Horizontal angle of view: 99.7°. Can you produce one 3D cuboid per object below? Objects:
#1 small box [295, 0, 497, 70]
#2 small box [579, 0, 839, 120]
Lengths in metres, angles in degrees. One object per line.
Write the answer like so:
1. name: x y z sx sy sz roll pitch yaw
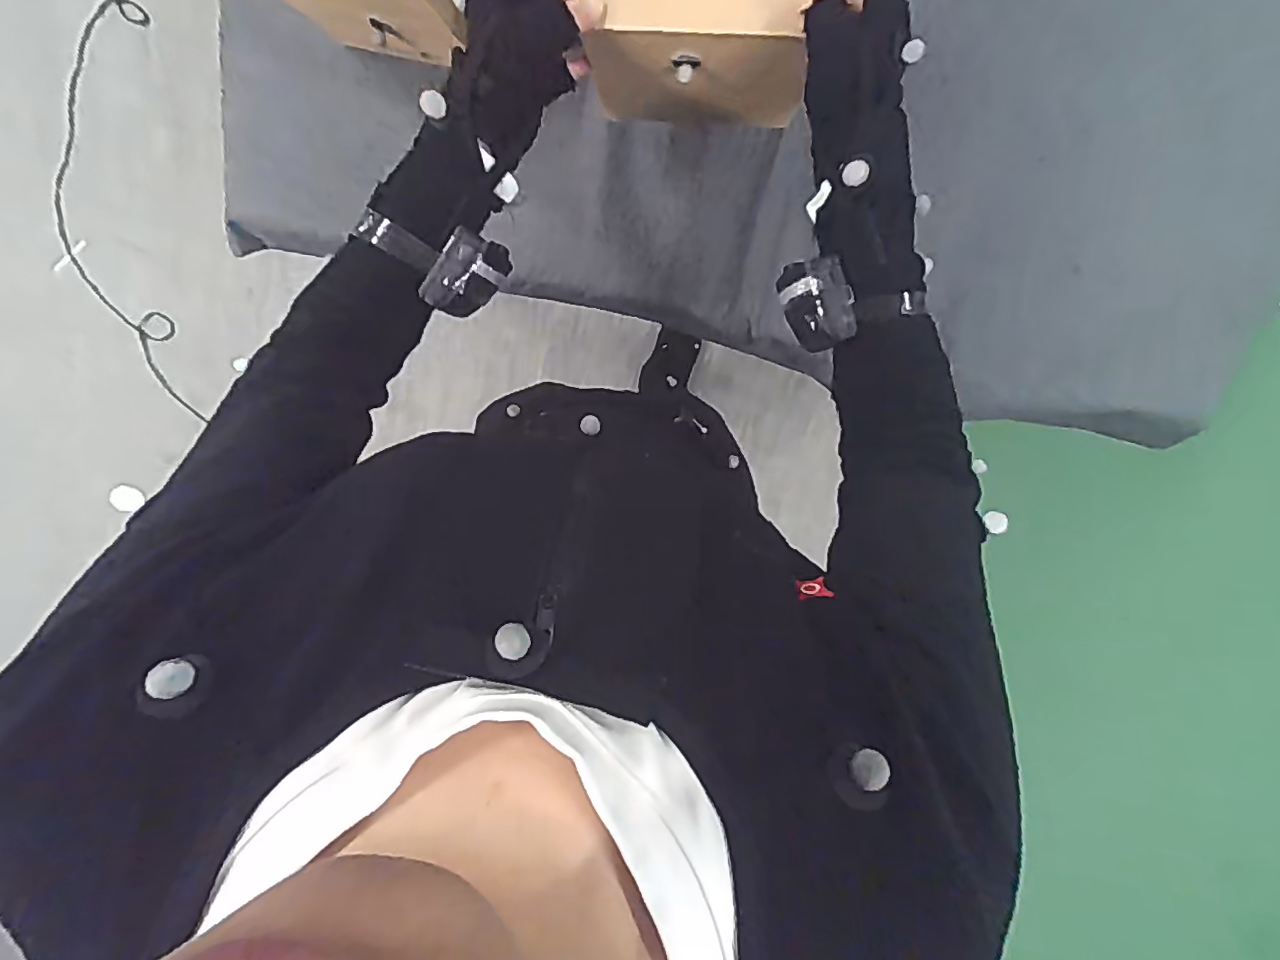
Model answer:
1. small box: -0.233 -0.519 0.498 0.168 0.176 0.179 12 109 2
2. small box: 0.055 -0.404 0.422 0.179 0.176 0.168 3 106 3
